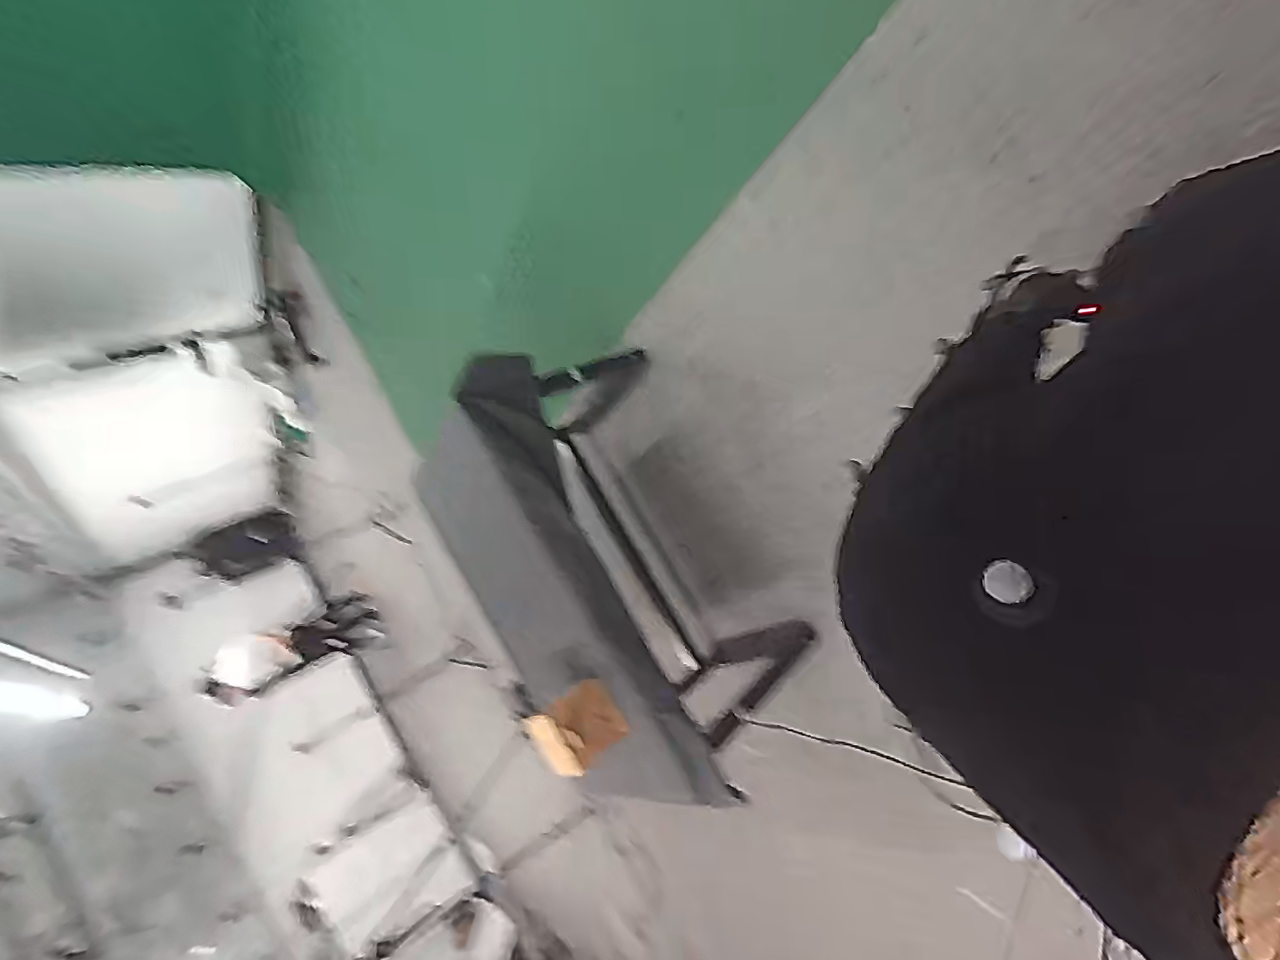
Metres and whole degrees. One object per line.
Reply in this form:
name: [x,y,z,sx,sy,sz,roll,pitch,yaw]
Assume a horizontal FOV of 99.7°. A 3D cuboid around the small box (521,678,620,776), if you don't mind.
small box: [-0.181,0.653,1.429,0.168,0.176,0.179,56,140,9]
